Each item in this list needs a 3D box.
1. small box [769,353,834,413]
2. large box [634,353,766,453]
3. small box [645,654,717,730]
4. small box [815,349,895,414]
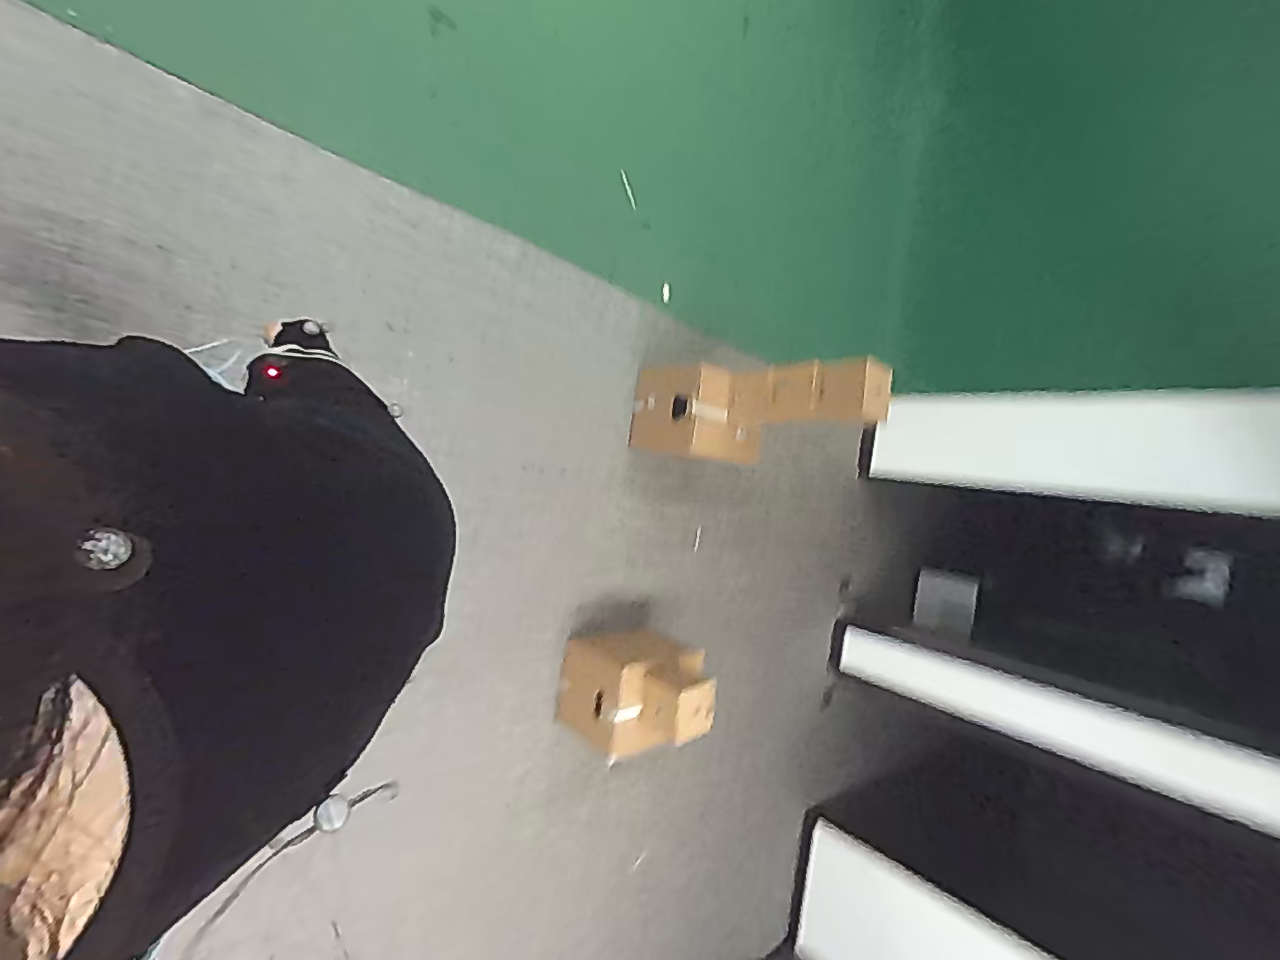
[{"bbox_3d":[0.557,-0.318,1.808,0.179,0.176,0.168,5,90,-42],"label":"small box"},{"bbox_3d":[0.228,-0.281,2.066,0.408,0.320,0.320,6,92,-44],"label":"large box"},{"bbox_3d":[0.132,0.697,1.798,0.179,0.176,0.168,1,94,-42],"label":"small box"},{"bbox_3d":[0.673,-0.302,1.694,0.179,0.176,0.168,8,87,-42],"label":"small box"}]
